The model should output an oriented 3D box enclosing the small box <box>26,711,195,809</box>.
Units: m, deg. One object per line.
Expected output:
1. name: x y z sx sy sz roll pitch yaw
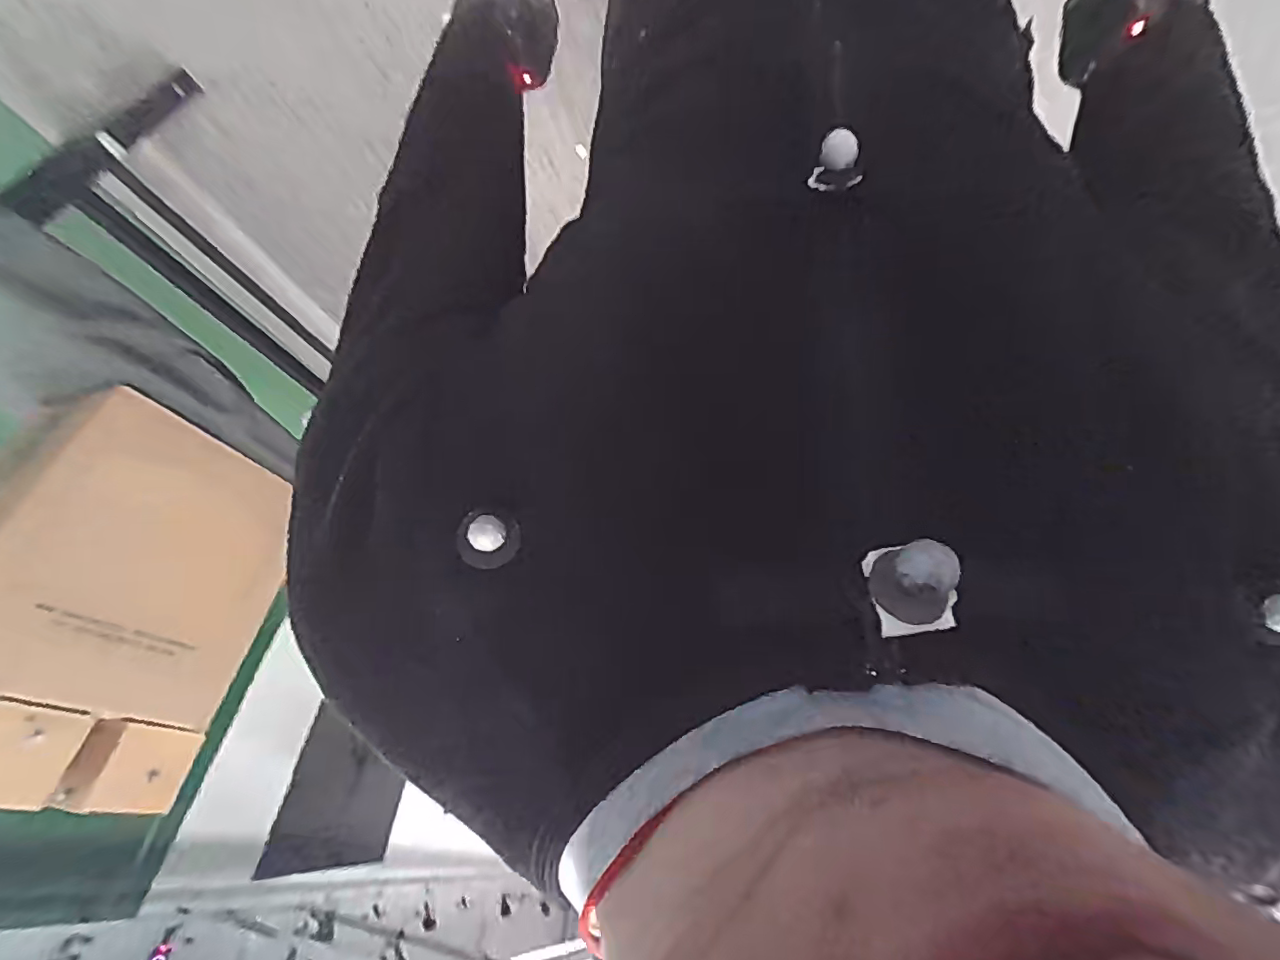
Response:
1. small box: -1.149 0.618 1.192 0.168 0.176 0.179 -3 148 14
